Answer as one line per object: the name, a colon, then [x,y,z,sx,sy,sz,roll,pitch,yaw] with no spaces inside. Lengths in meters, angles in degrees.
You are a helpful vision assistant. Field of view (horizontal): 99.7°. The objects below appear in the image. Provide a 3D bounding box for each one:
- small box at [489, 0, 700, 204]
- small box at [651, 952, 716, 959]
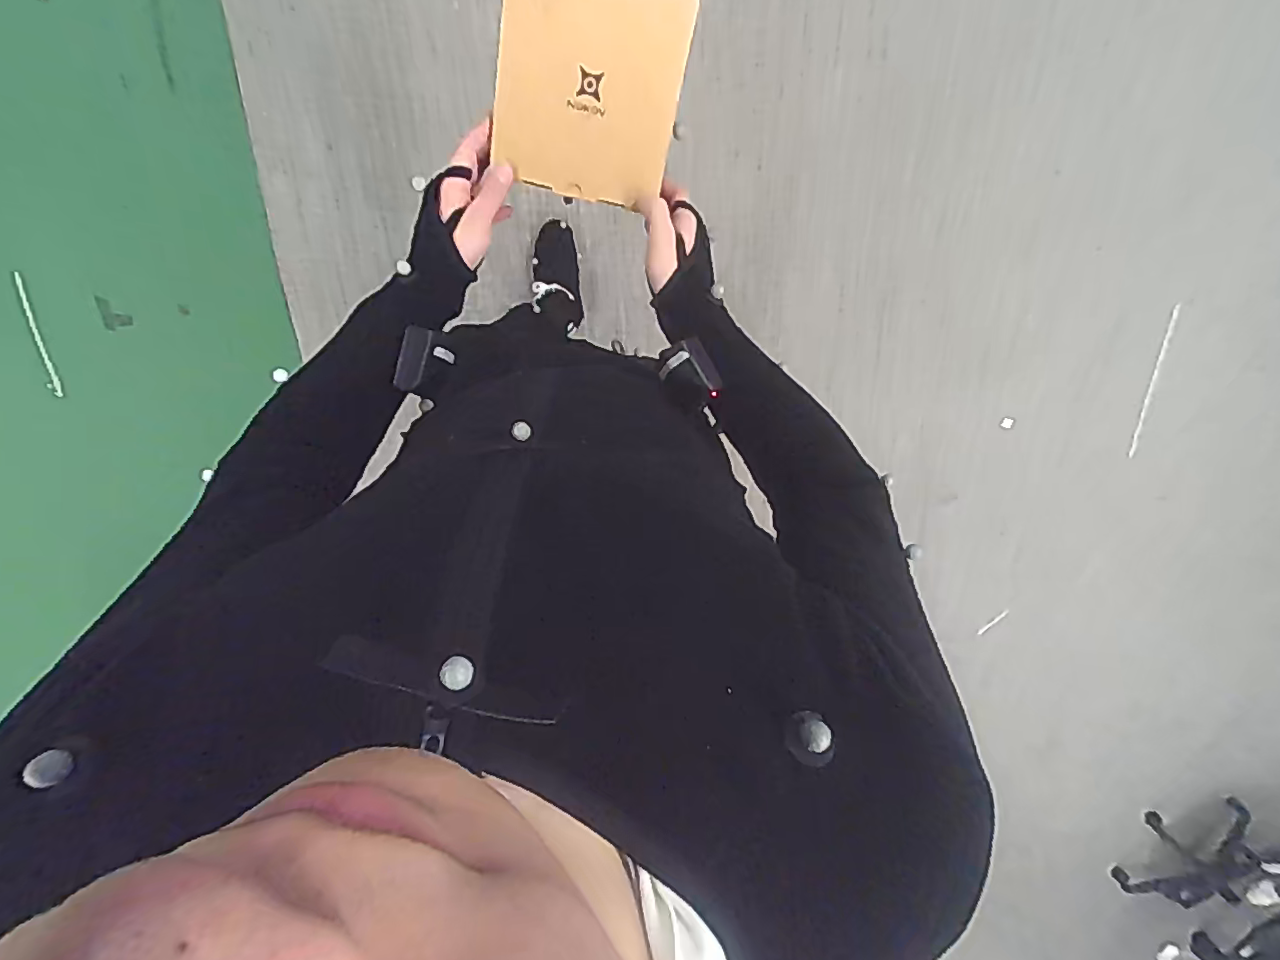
small box: [-0.050,-0.399,0.550,0.168,0.176,0.179,10,119,-9]
small box: [0.113,1.251,1.269,0.168,0.176,0.179,-5,111,-2]
